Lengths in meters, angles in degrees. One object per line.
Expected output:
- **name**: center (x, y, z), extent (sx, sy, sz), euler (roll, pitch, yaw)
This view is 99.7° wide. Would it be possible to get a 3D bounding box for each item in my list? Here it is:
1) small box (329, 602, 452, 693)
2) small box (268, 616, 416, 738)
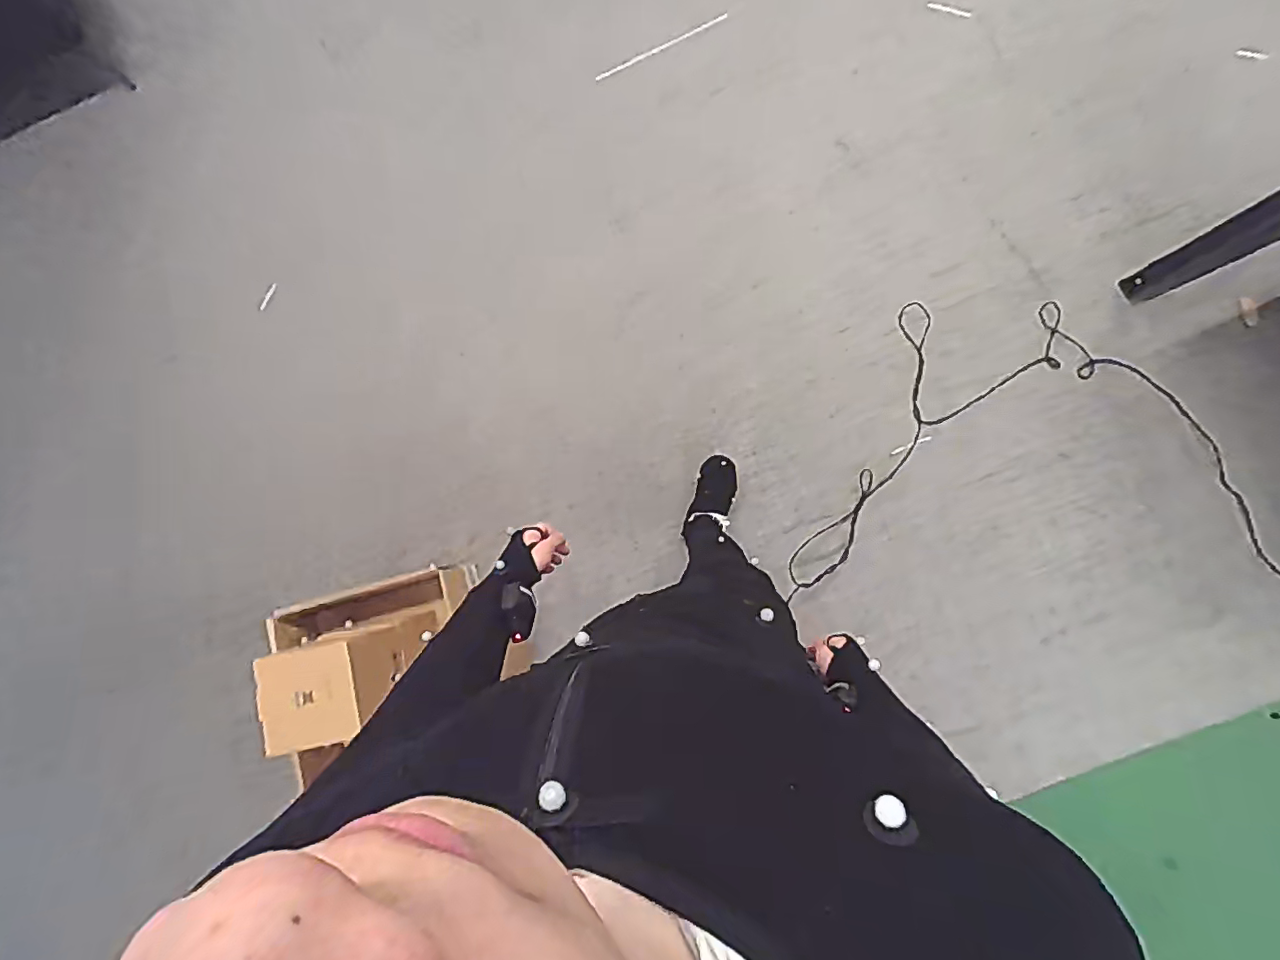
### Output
- **small box**: center (-0.543, 0.374, 1.191), extent (0.179, 0.176, 0.168), euler (-12, 85, 5)
- **small box**: center (-0.559, 0.365, 1.029), extent (0.179, 0.176, 0.168), euler (-12, 85, 5)
